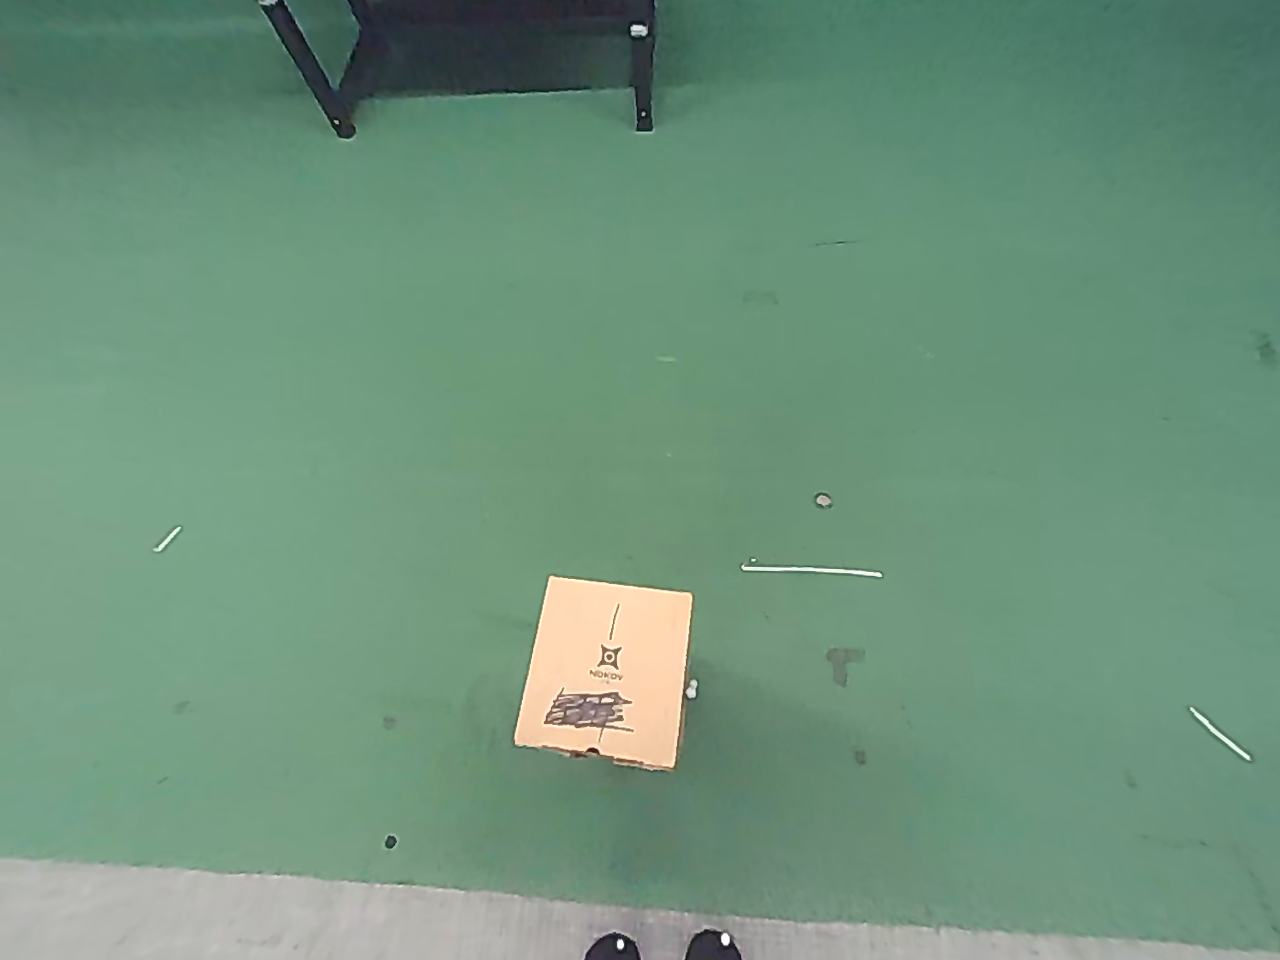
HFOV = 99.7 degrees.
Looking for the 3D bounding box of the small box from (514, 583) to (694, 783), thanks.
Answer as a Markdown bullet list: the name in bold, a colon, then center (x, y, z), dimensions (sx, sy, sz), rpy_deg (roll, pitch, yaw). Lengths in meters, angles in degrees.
- **small box**: center (-0.027, 0.235, 0.631), dimensions (0.168, 0.176, 0.179), rpy_deg (6, 65, 8)
